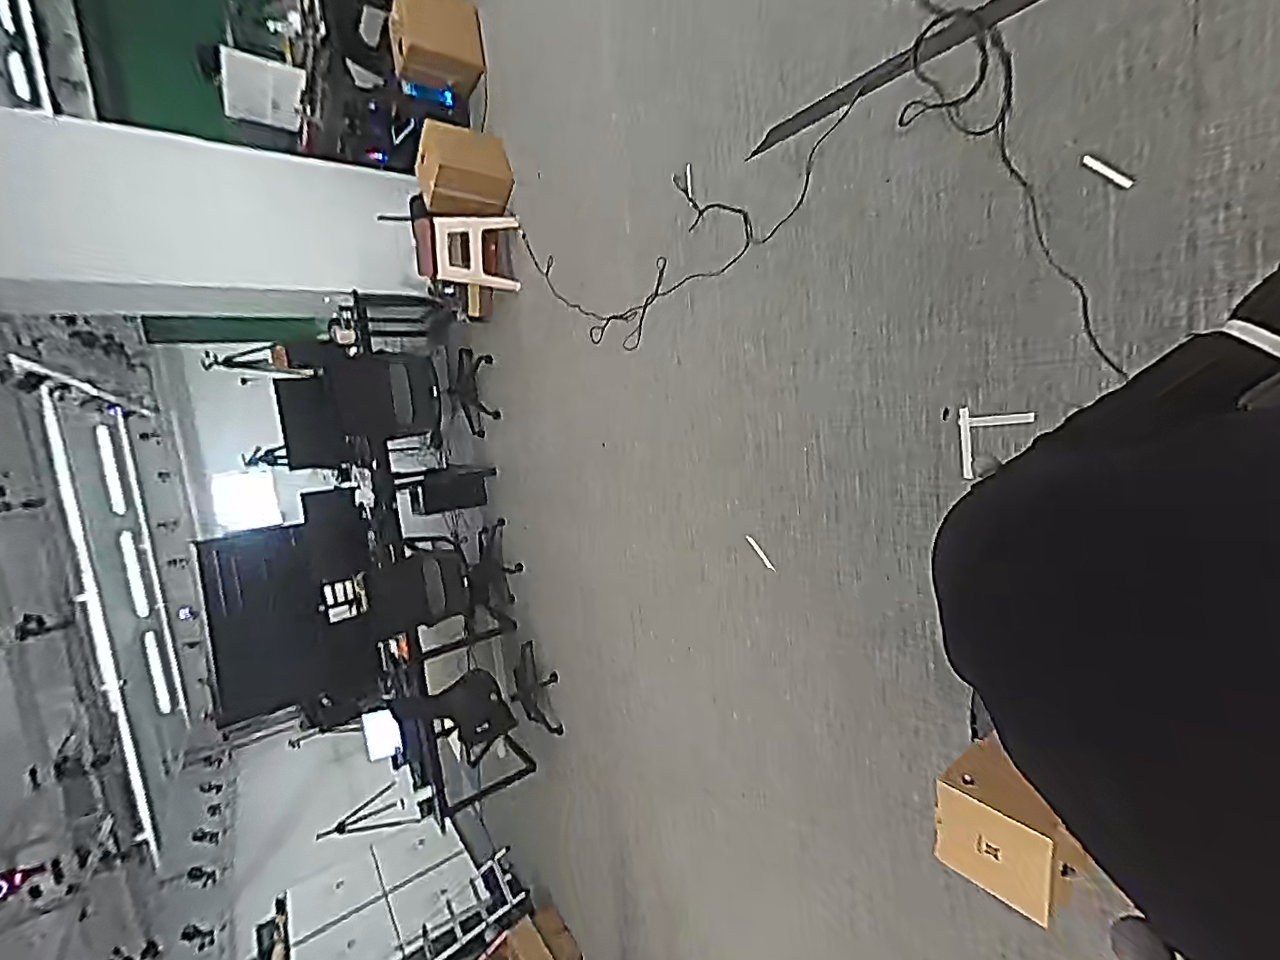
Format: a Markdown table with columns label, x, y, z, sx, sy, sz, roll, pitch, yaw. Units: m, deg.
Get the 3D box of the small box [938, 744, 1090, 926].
| label | x | y | z | sx | sy | sz | roll | pitch | yaw |
| --- | --- | --- | --- | --- | --- | --- | --- | --- | --- |
| small box | 0.652 | 0.600 | 0.945 | 0.179 | 0.176 | 0.168 | 10 | 107 | 54 |
